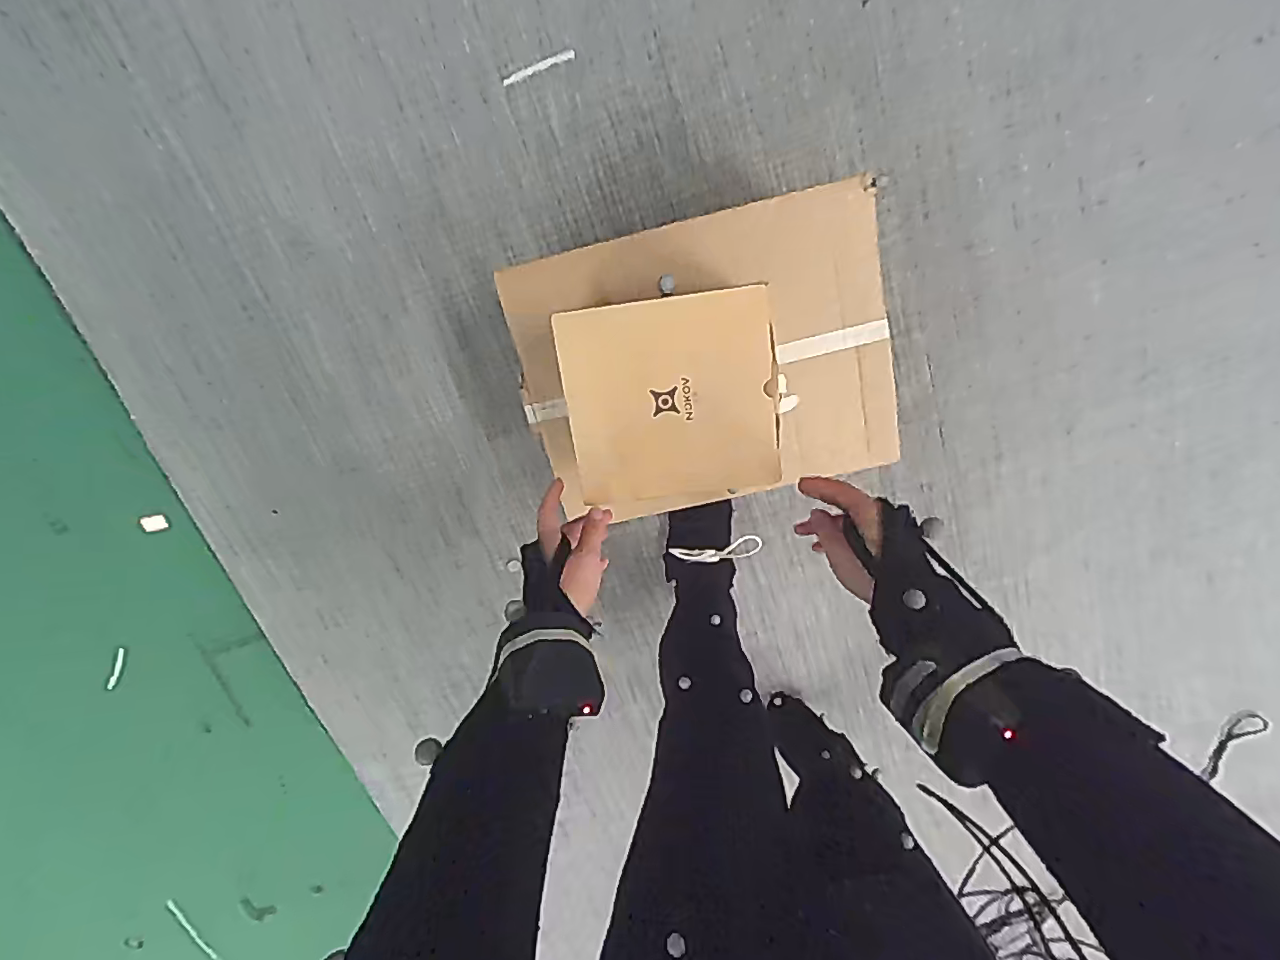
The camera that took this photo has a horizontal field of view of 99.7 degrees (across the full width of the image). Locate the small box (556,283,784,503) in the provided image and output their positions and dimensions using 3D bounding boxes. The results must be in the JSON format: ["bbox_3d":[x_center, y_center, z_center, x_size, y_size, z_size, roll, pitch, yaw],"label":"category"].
[{"bbox_3d":[0.030,-0.088,0.523,0.179,0.176,0.168,-7,107,3],"label":"small box"}]

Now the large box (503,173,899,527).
[{"bbox_3d":[0.078,-0.171,0.751,0.408,0.320,0.320,-13,108,4],"label":"large box"}]
